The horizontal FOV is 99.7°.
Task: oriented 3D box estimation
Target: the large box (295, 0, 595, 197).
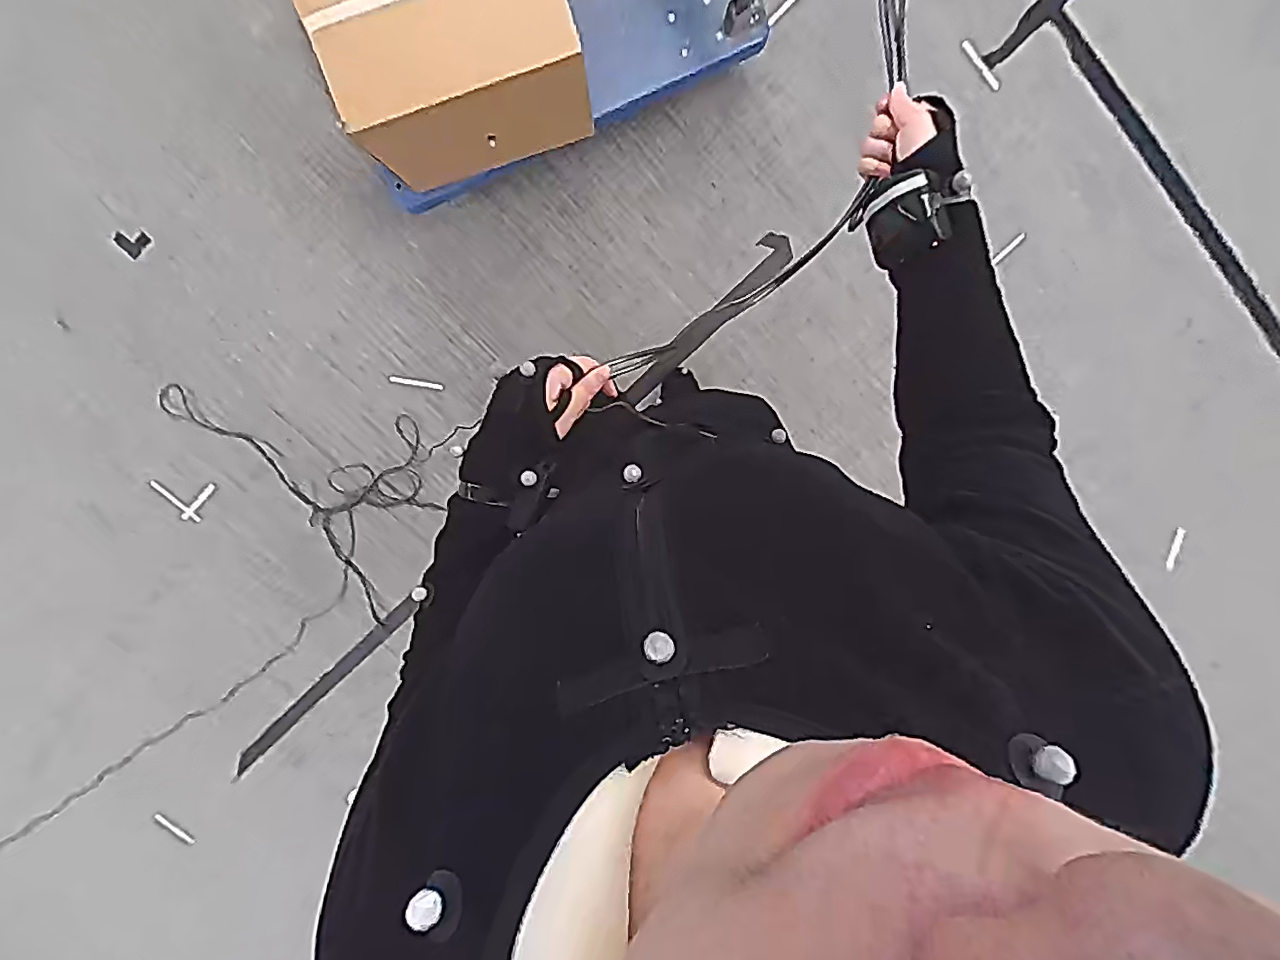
[{"bbox_3d":[-0.325,-0.775,0.979,0.408,0.320,0.320,-18,100,3],"label":"large box"}]
